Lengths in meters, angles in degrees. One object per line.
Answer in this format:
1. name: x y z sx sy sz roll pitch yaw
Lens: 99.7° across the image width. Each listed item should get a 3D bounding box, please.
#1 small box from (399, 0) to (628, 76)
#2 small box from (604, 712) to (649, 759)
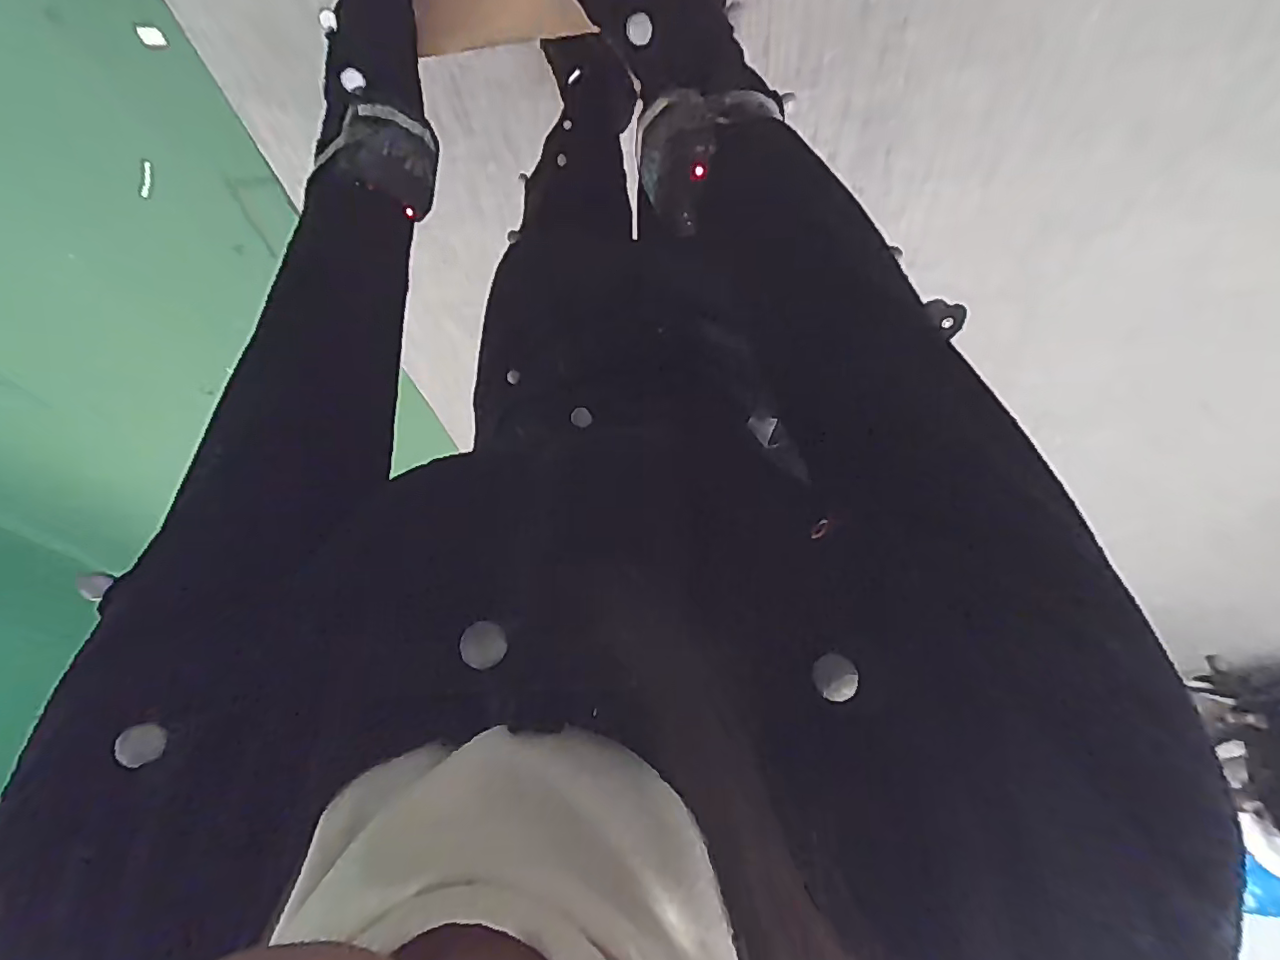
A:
1. small box: -0.106 -0.466 0.430 0.179 0.176 0.168 -3 145 12
2. small box: -0.055 1.181 2.499 0.179 0.176 0.168 2 146 12
